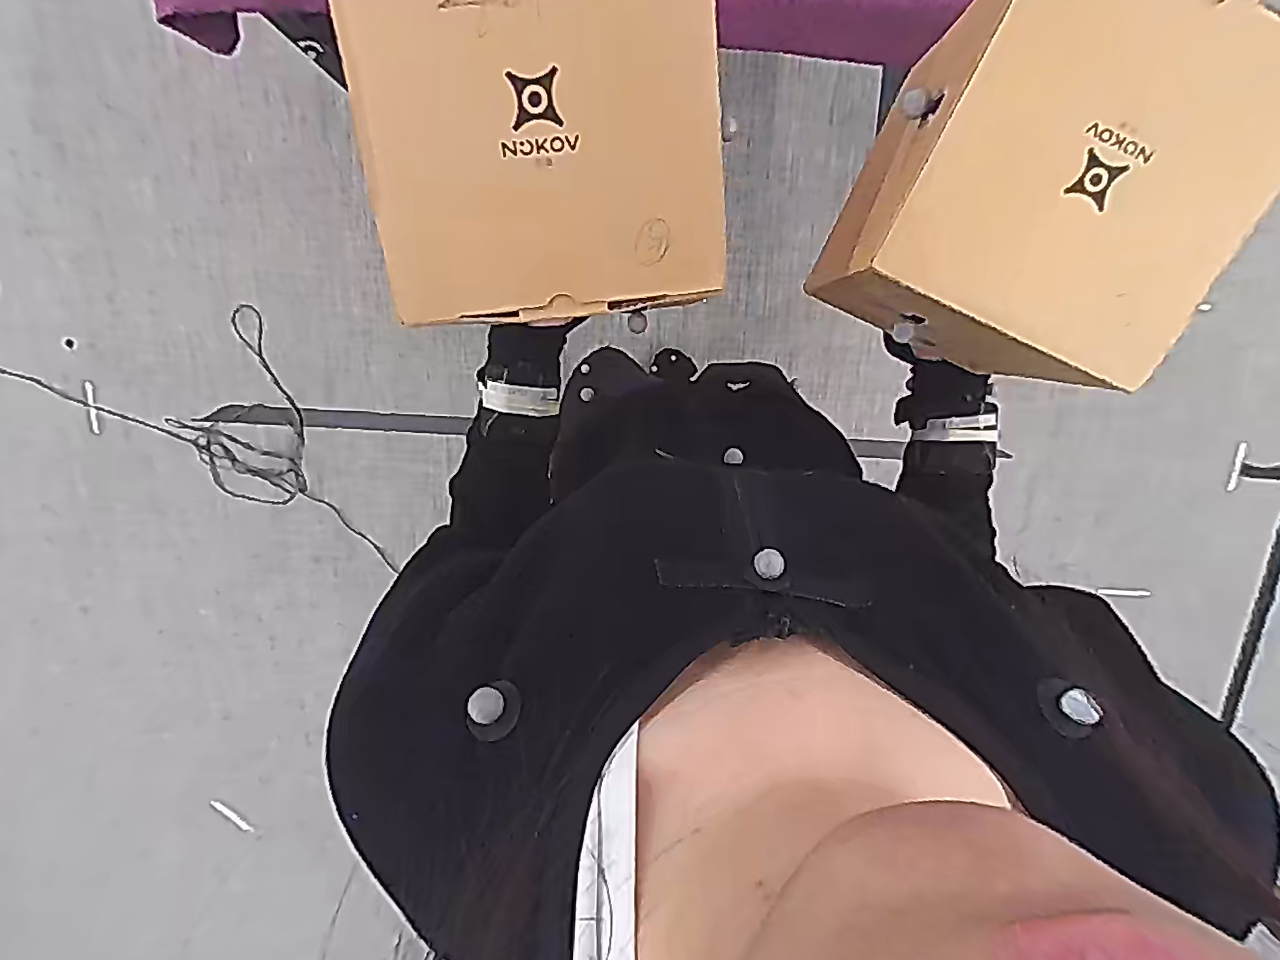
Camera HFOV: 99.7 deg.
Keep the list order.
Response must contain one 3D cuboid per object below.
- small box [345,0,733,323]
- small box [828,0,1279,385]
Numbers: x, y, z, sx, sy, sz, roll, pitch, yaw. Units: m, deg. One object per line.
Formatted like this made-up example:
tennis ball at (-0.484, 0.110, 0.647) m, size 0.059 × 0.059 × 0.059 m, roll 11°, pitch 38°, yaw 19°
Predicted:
small box at (-0.041, -0.192, 0.320) m, size 0.168 × 0.176 × 0.179 m, roll -6°, pitch 106°, yaw 1°
small box at (0.242, -0.175, 0.349) m, size 0.168 × 0.176 × 0.179 m, roll 22°, pitch 102°, yaw -1°
